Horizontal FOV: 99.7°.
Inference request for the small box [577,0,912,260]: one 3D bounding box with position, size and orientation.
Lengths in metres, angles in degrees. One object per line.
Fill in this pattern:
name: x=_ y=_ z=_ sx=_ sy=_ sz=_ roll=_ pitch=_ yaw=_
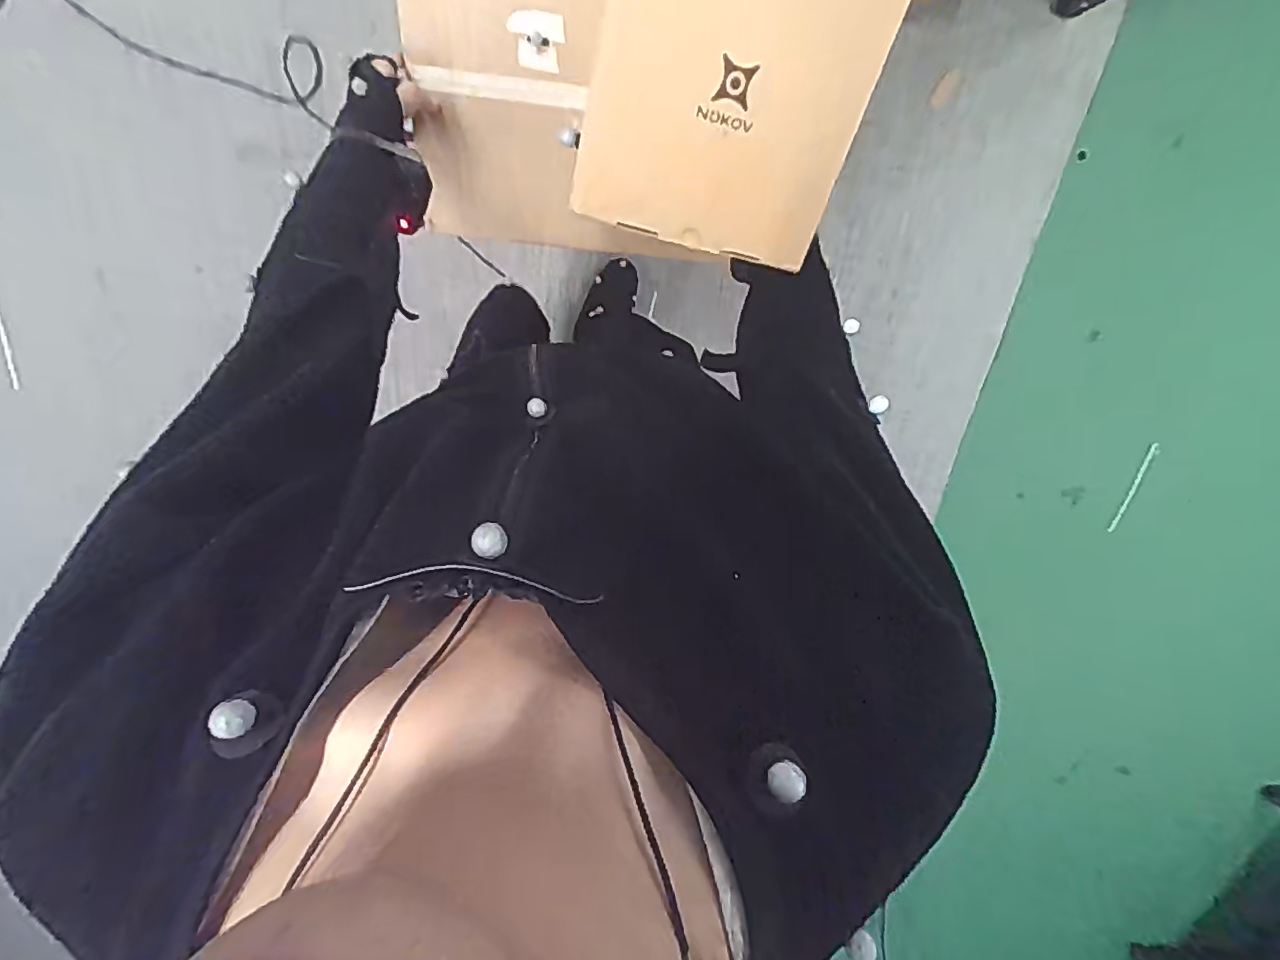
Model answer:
small box: x=0.052 y=-0.282 z=0.377 sx=0.168 sy=0.176 sz=0.179 roll=9 pitch=127 yaw=-11
